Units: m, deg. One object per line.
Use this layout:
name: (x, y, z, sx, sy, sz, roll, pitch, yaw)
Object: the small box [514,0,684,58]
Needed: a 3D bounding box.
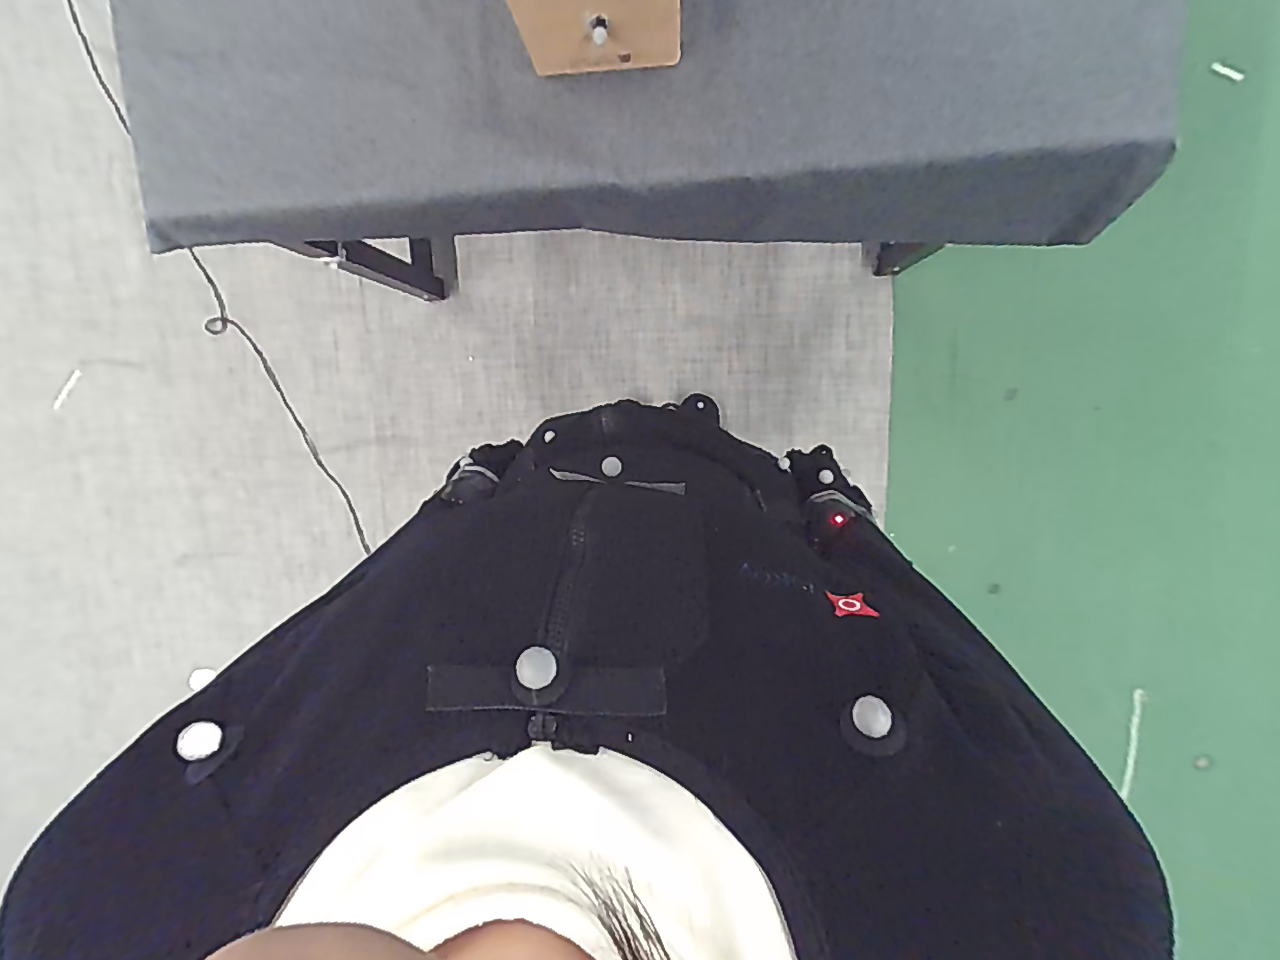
small box: (-0.043, -0.549, 0.524, 0.168, 0.176, 0.179, -2, 99, 6)
